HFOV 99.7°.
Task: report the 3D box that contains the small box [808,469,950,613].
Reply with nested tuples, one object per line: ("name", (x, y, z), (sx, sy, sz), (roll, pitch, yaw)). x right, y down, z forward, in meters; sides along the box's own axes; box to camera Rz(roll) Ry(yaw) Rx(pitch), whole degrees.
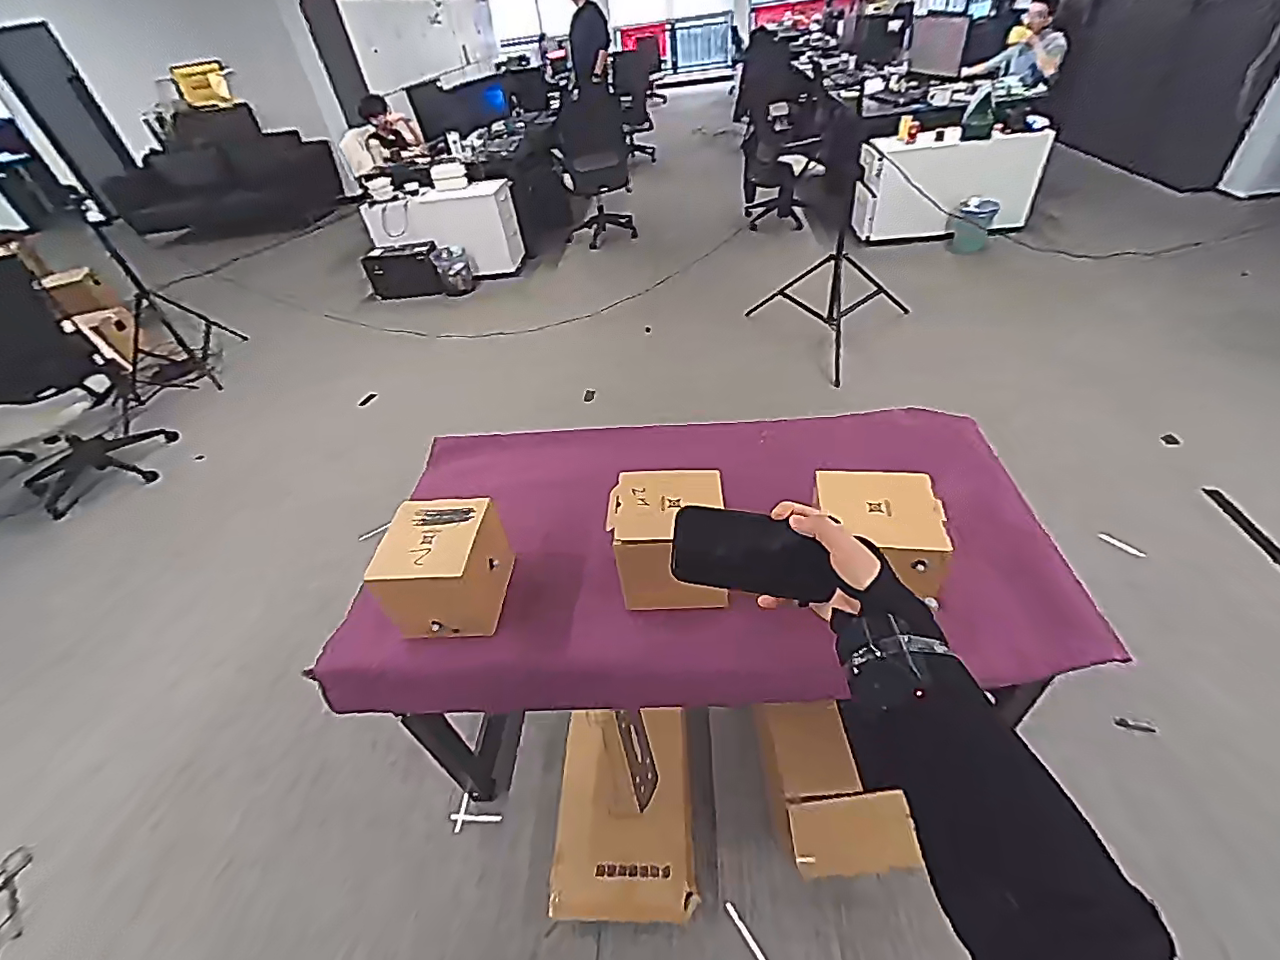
("small box", (0.370, 0.099, 0.877), (0.179, 0.176, 0.168), (1, 42, 11))

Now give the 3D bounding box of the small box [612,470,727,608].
("small box", (0.055, 0.103, 0.925), (0.179, 0.176, 0.168), (-4, 39, 6))
